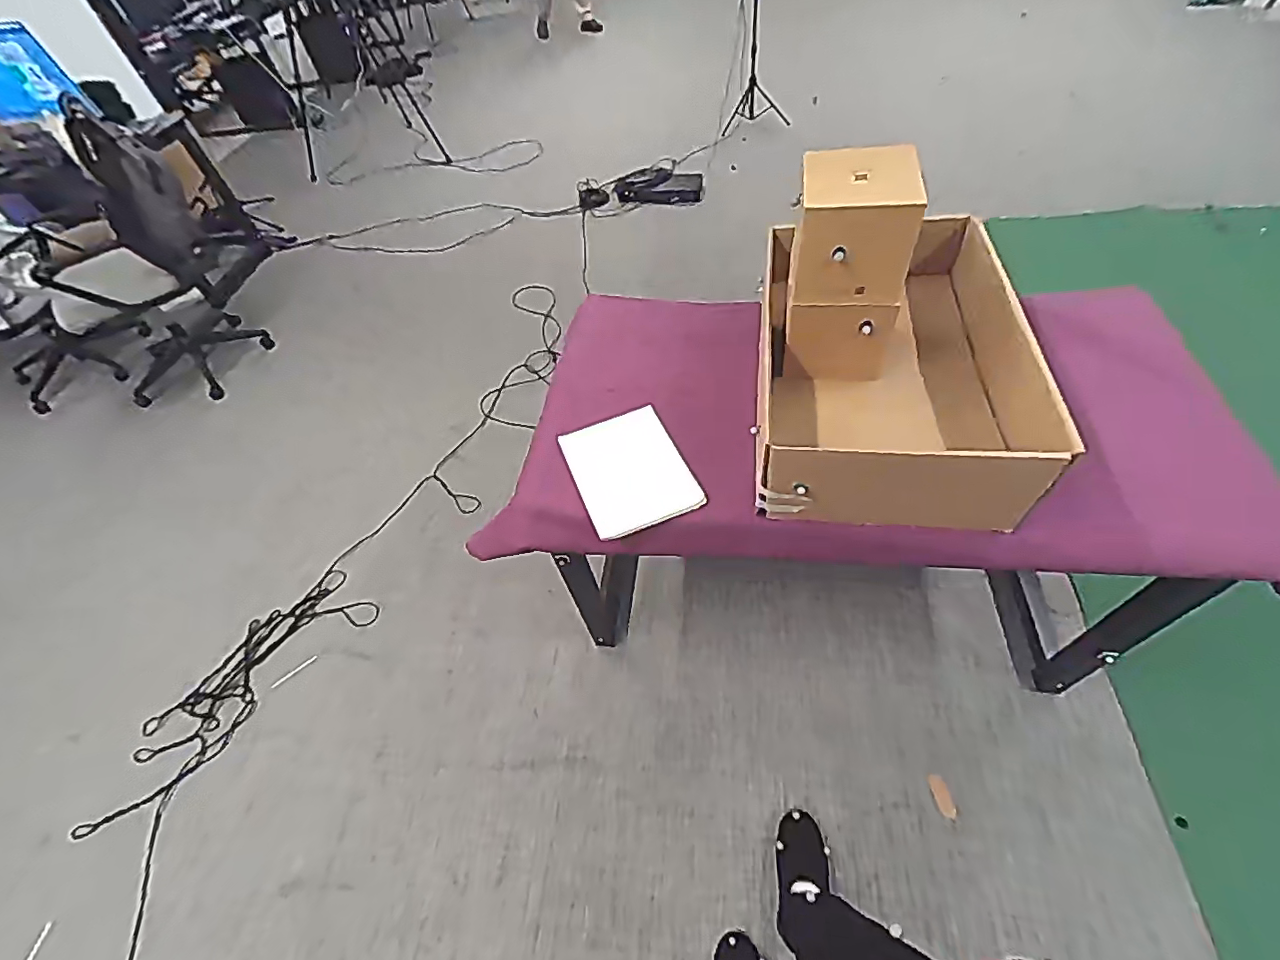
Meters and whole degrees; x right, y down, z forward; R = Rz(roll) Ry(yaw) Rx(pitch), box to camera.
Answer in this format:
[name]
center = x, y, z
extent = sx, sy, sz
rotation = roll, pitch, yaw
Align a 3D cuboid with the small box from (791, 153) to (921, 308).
[small box]
center = 0.336, -0.394, 0.873
extent = 0.168, 0.176, 0.179
rotation = 3, 54, 12
